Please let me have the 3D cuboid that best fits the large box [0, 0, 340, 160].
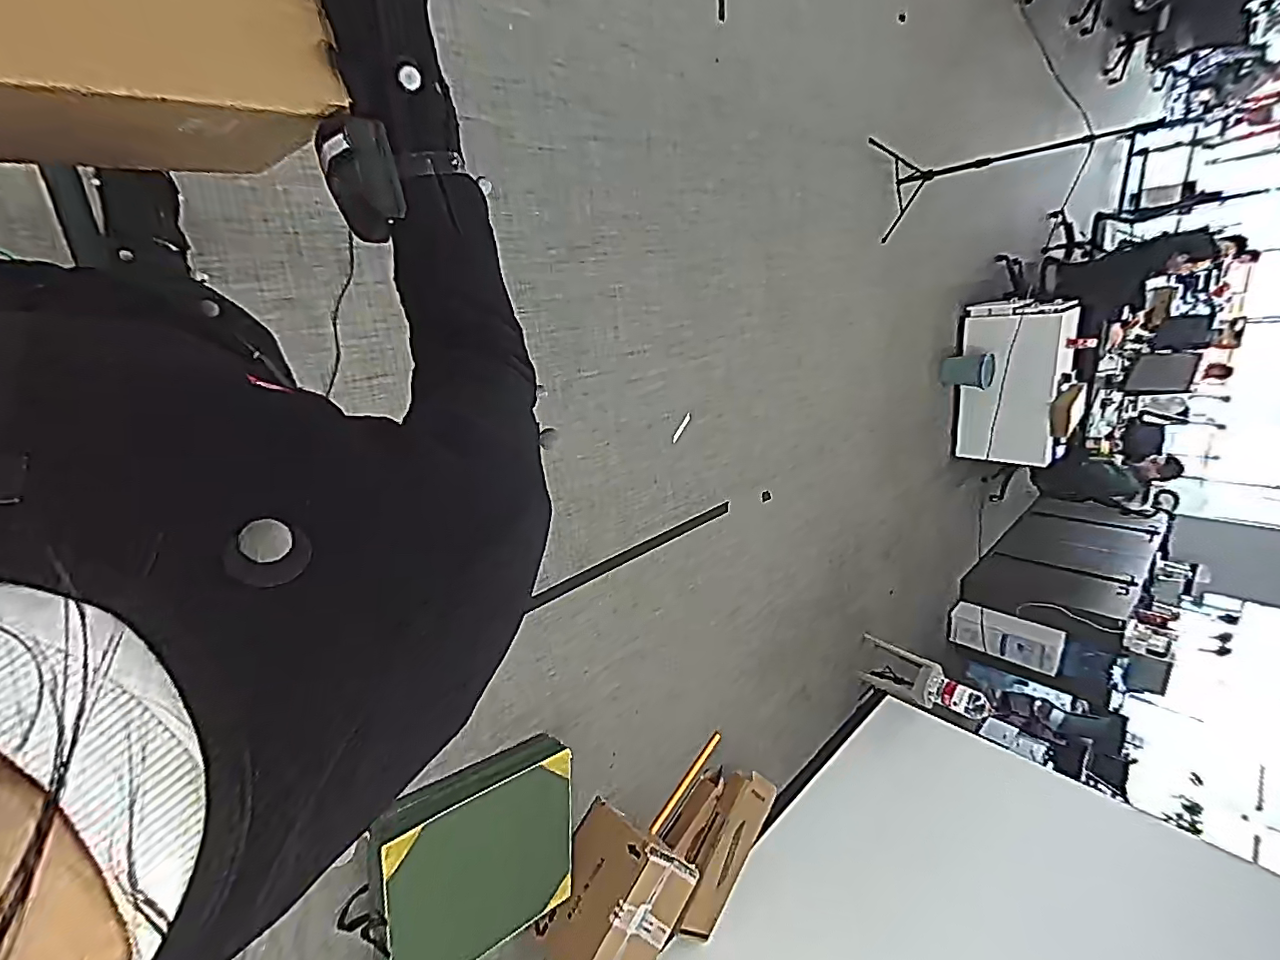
[{"bbox_3d":[-0.448,-0.364,0.273,0.408,0.320,0.320,-23,122,-38],"label":"large box"}]
